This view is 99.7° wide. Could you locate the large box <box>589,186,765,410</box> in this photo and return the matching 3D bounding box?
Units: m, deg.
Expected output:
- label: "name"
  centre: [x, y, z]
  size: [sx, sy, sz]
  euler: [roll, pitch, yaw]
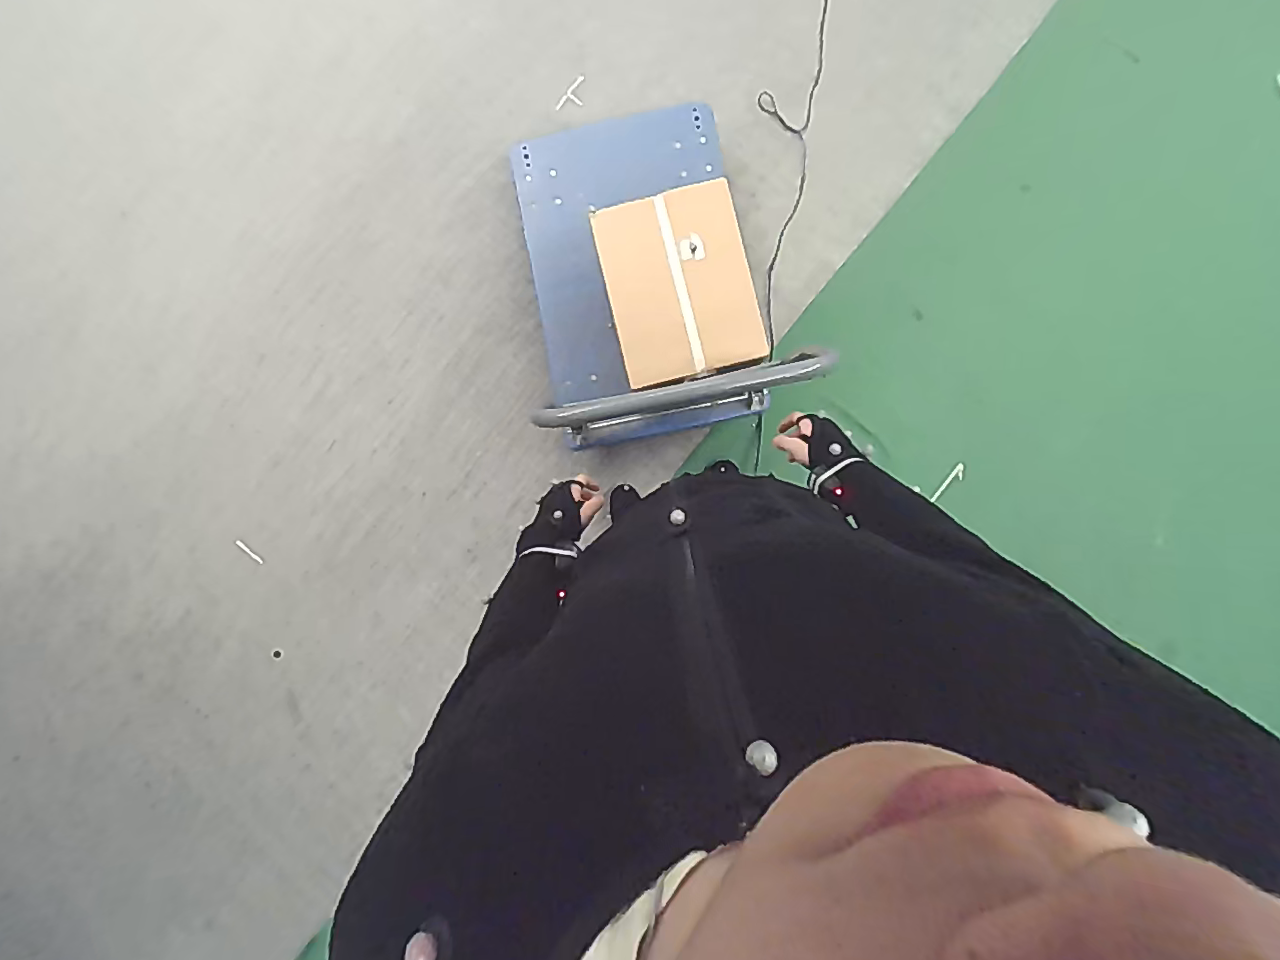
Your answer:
- label: "large box"
  centre: [0.087, -0.423, 1.350]
  size: [0.320, 0.320, 0.408]
  euler: [-14, 88, 1]
